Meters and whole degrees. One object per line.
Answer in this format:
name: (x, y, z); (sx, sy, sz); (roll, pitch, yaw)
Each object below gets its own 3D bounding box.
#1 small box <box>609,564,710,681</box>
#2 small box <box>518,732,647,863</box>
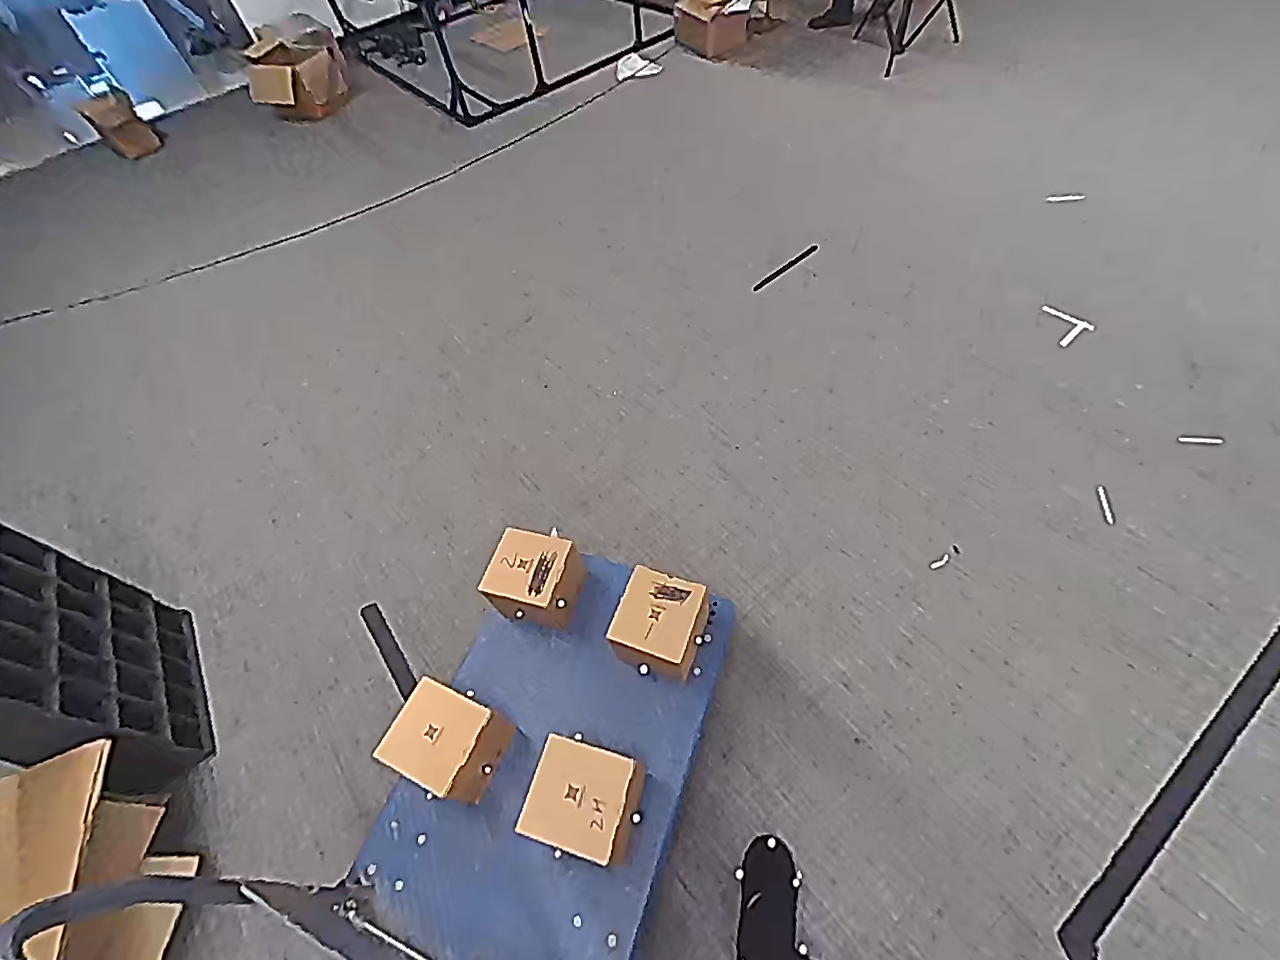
small box: (0.049, 0.317, 1.193); (0.168, 0.176, 0.179); (15, 60, 18)
small box: (-0.098, 0.600, 1.020); (0.179, 0.176, 0.168); (10, 58, 15)
